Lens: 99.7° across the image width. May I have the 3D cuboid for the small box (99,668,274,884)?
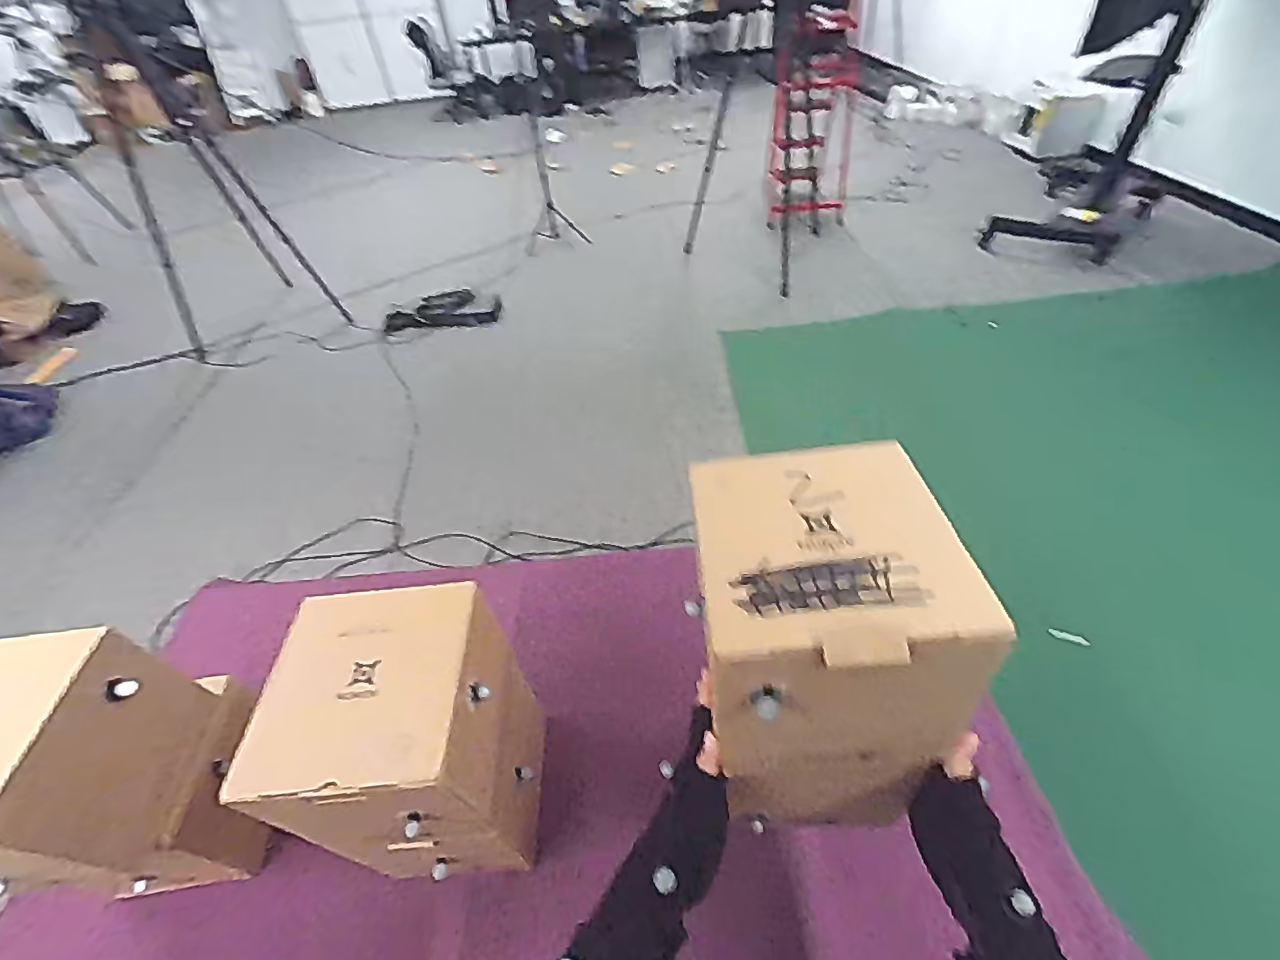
[{"bbox_3d":[-0.550,0.352,0.643,0.168,0.176,0.179,-8,47,-2],"label":"small box"}]

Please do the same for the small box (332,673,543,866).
[{"bbox_3d":[-0.213,0.328,0.628,0.168,0.176,0.179,-9,45,1],"label":"small box"}]

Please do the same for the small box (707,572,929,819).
[{"bbox_3d":[0.155,0.213,0.532,0.168,0.176,0.179,-3,41,7],"label":"small box"}]

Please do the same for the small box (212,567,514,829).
[{"bbox_3d":[-0.222,0.204,0.496,0.168,0.176,0.179,-5,46,2],"label":"small box"}]

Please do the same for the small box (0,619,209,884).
[{"bbox_3d":[-0.562,0.256,0.508,0.168,0.176,0.179,-7,47,0],"label":"small box"}]
